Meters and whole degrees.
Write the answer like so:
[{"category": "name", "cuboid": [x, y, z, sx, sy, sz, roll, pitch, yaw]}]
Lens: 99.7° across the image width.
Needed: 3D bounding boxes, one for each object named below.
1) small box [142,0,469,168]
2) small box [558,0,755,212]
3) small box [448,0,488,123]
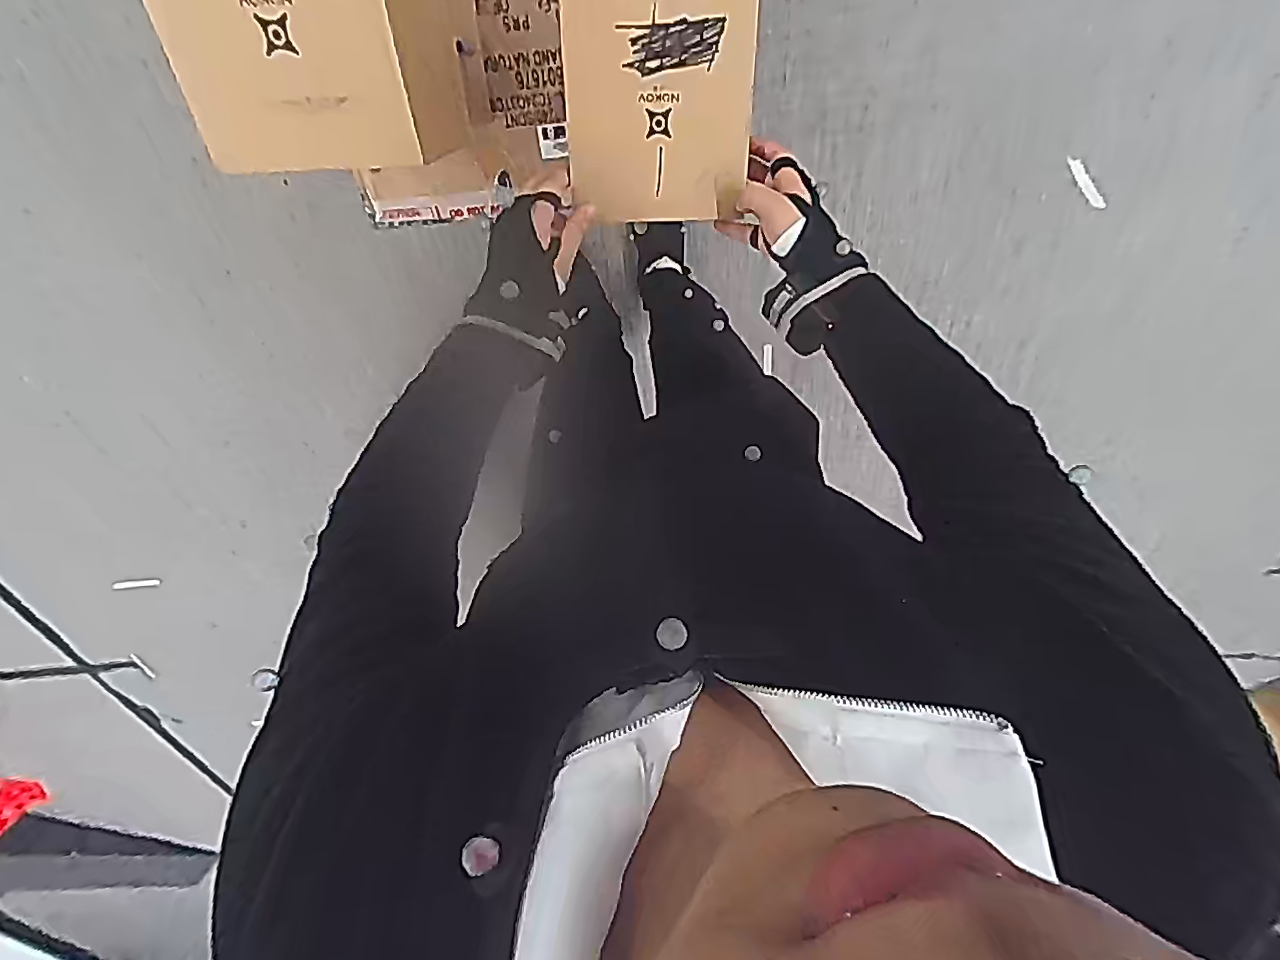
[{"category": "small box", "cuboid": [-0.251, -0.362, 0.432, 0.168, 0.176, 0.179, -2, 128, 1]}, {"category": "small box", "cuboid": [0.007, -0.367, 0.540, 0.168, 0.176, 0.179, -3, 119, -4]}, {"category": "small box", "cuboid": [-0.266, -0.467, 0.557, 0.168, 0.176, 0.179, -3, 128, 0]}]
